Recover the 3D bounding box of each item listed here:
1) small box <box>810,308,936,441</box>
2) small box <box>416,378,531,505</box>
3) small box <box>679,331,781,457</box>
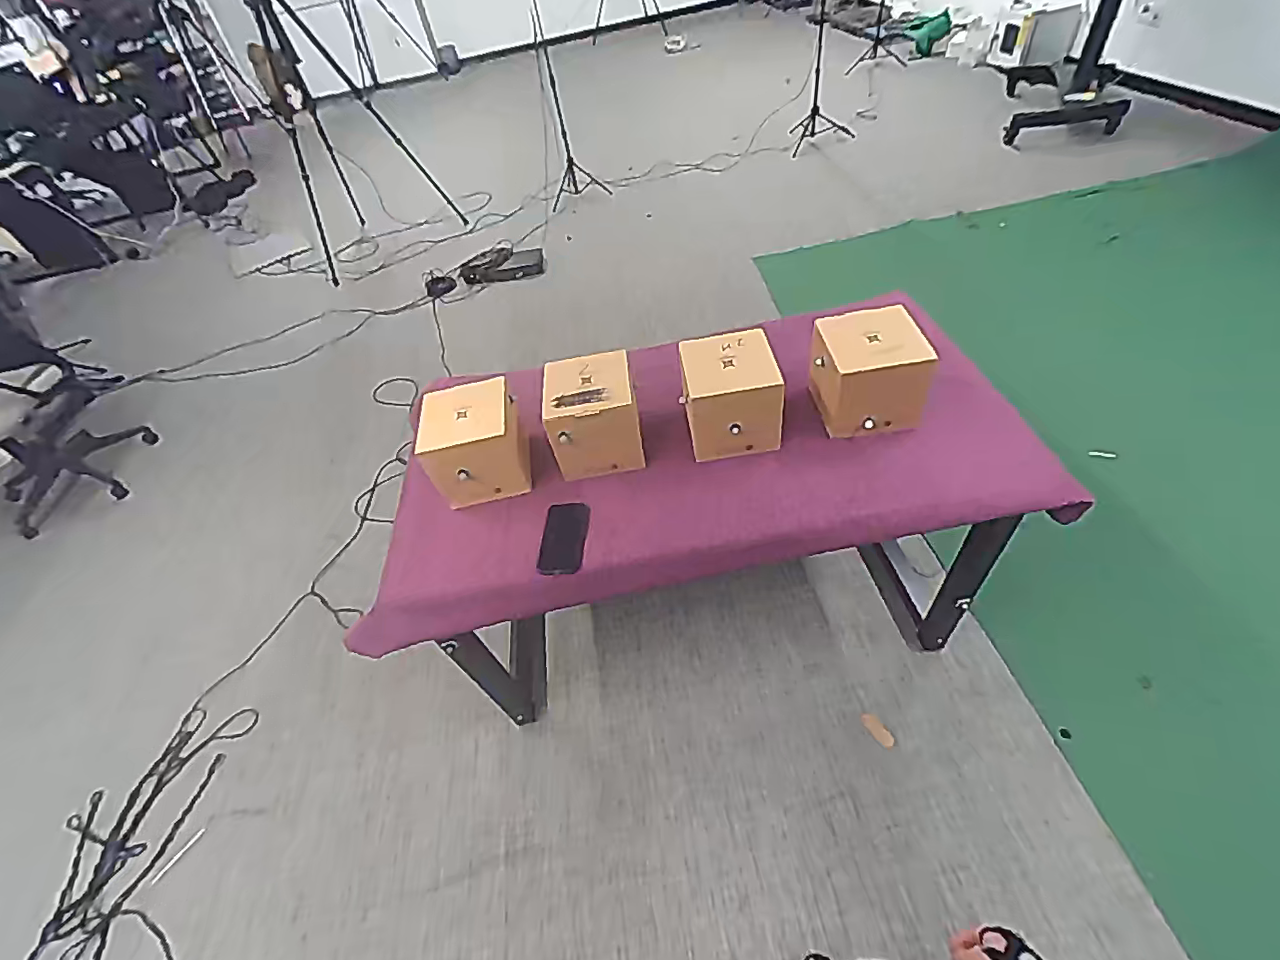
[{"bbox_3d":[0.430,-0.199,1.034,0.168,0.176,0.179,-8,48,6],"label":"small box"},{"bbox_3d":[-0.319,-0.068,1.068,0.168,0.176,0.179,-13,47,0],"label":"small box"},{"bbox_3d":[0.173,-0.159,1.049,0.168,0.176,0.179,-8,48,3],"label":"small box"}]
